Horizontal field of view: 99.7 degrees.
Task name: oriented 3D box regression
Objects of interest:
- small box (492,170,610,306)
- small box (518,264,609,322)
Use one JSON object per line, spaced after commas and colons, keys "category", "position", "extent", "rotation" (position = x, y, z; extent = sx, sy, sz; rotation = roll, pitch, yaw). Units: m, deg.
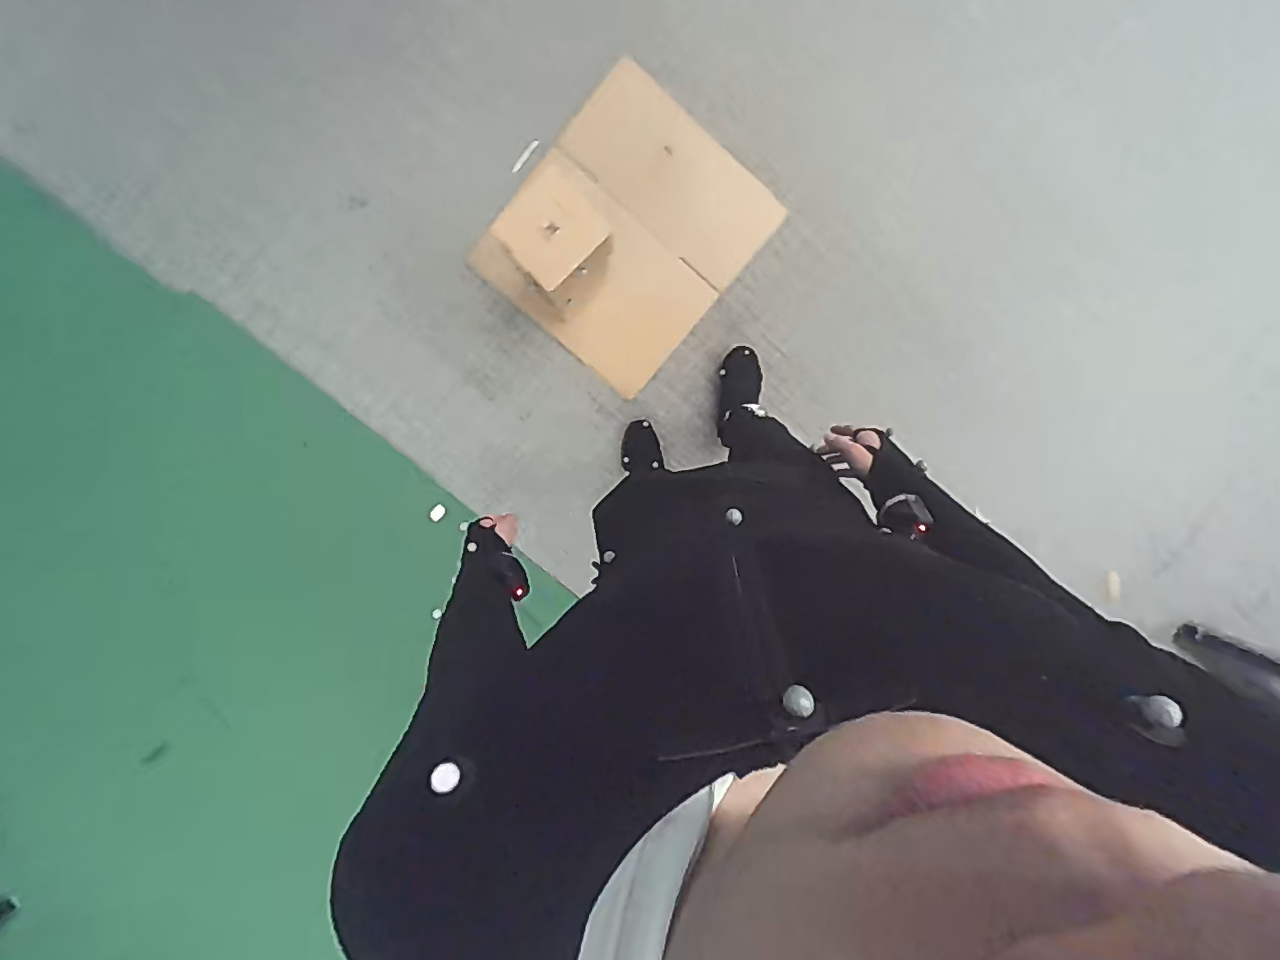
{"category": "small box", "position": [-0.173, -0.489, 1.126], "extent": [0.179, 0.176, 0.168], "rotation": [-43, 98, 5]}
{"category": "small box", "position": [-0.195, -0.548, 1.448], "extent": [0.168, 0.176, 0.179], "rotation": [44, 95, -7]}
